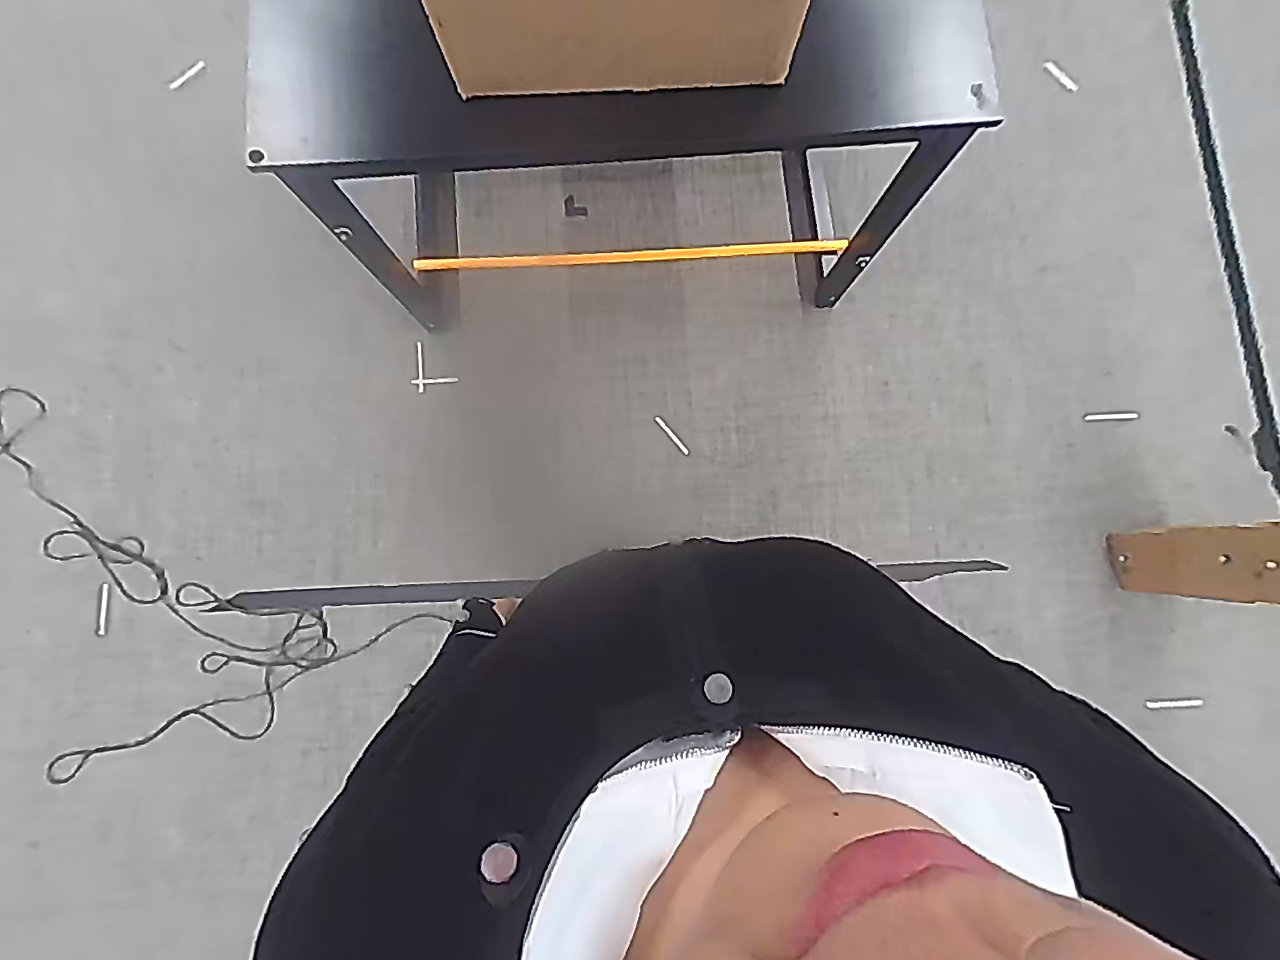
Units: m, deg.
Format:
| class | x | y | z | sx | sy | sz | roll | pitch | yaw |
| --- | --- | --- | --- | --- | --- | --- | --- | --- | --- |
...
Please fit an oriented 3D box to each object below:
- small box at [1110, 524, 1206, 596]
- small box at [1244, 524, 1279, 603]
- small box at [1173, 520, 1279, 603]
| class | x | y | z | sx | sy | sz | roll | pitch | yaw |
| --- | --- | --- | --- | --- | --- | --- | --- | --- | --- |
| small box | 1.412 | 0.206 | 1.429 | 0.179 | 0.176 | 0.168 | -9 | 83 | 0 |
| small box | 1.416 | 0.172 | 1.102 | 0.179 | 0.176 | 0.168 | -1 | 83 | 0 |
| small box | 1.413 | 0.187 | 1.266 | 0.168 | 0.176 | 0.179 | -4 | 84 | 0 |
